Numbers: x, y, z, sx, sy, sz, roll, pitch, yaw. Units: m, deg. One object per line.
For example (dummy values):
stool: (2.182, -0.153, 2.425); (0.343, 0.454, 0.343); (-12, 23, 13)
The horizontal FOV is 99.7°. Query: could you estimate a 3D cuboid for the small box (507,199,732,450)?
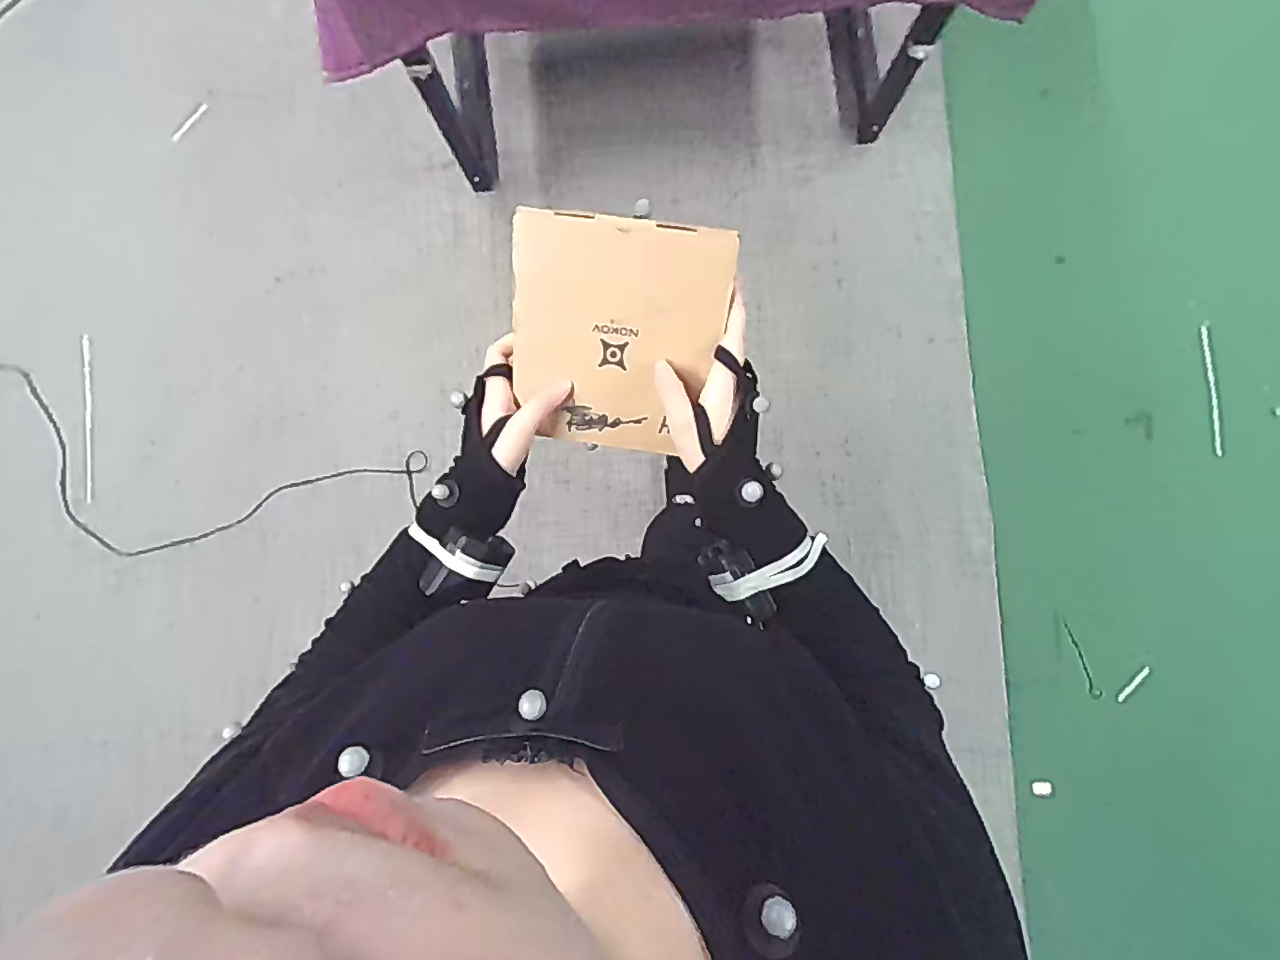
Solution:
small box: (-0.014, -0.146, 0.494); (0.168, 0.176, 0.179); (8, 115, 5)
